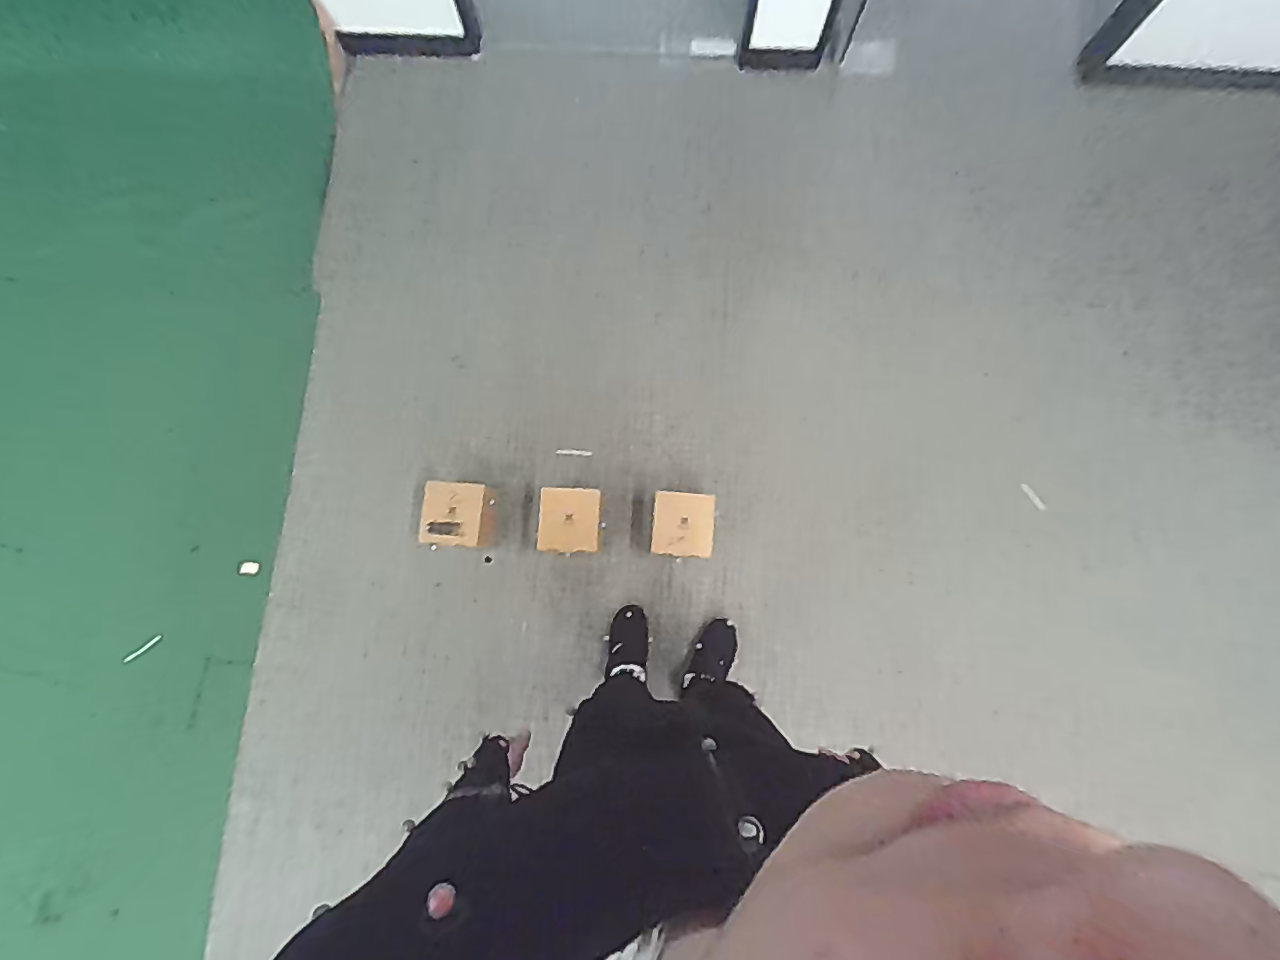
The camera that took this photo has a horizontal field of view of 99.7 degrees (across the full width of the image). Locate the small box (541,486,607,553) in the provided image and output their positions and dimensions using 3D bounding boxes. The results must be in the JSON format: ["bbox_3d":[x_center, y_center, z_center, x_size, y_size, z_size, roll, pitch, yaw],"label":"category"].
[{"bbox_3d":[-0.186,0.119,1.573,0.168,0.176,0.179,3,81,1],"label":"small box"}]

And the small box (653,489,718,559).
[{"bbox_3d":[0.128,0.132,1.561,0.168,0.176,0.179,5,81,2],"label":"small box"}]
